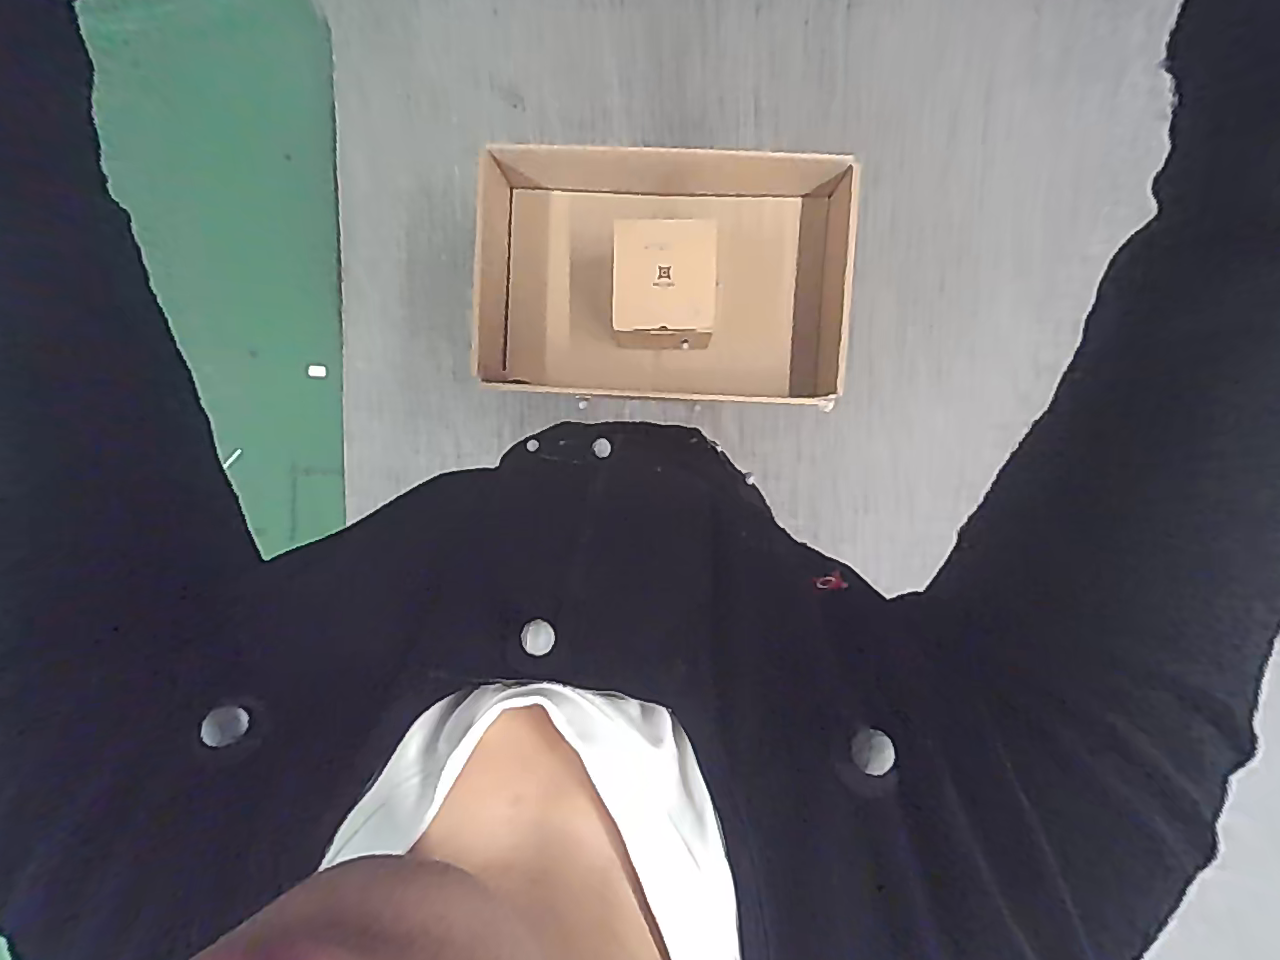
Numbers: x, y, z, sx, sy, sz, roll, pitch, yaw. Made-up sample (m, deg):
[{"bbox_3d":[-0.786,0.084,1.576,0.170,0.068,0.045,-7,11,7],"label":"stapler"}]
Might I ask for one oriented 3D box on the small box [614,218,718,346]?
[{"bbox_3d":[0.044,-0.334,0.941,0.168,0.176,0.179,1,93,2],"label":"small box"}]
